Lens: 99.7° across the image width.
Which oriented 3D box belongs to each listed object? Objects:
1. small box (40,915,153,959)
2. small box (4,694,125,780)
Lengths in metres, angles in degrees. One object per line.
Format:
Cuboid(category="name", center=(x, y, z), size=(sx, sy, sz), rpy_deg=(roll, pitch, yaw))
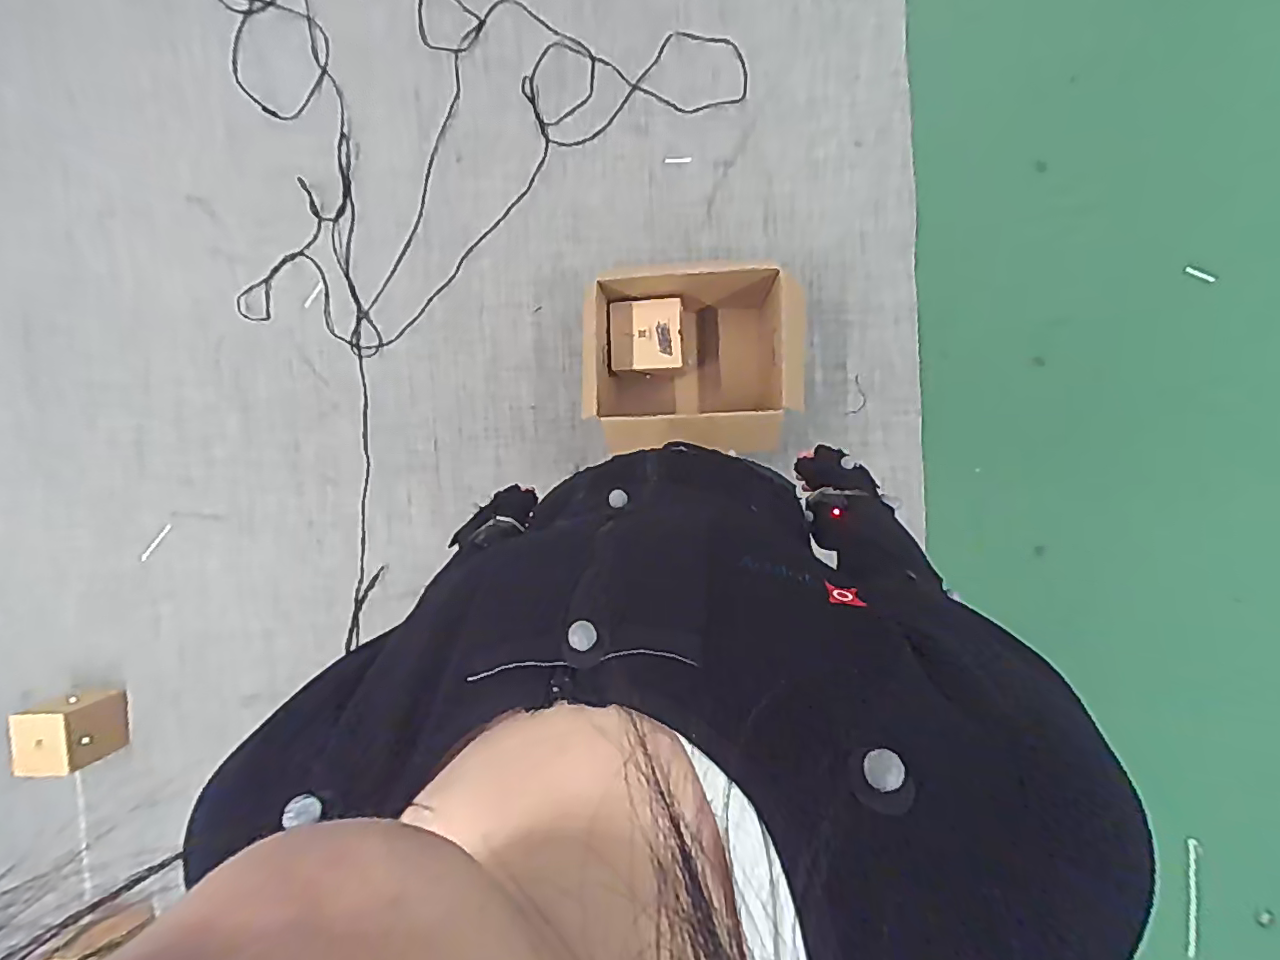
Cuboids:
Cuboid(category="small box", center=(-1.576, 1.408, 1.569), size=(0.179, 0.176, 0.168), rpy_deg=(-4, 92, 4))
Cuboid(category="small box", center=(-1.638, 0.726, 1.548), size=(0.168, 0.176, 0.179), rpy_deg=(-4, 92, 4))
